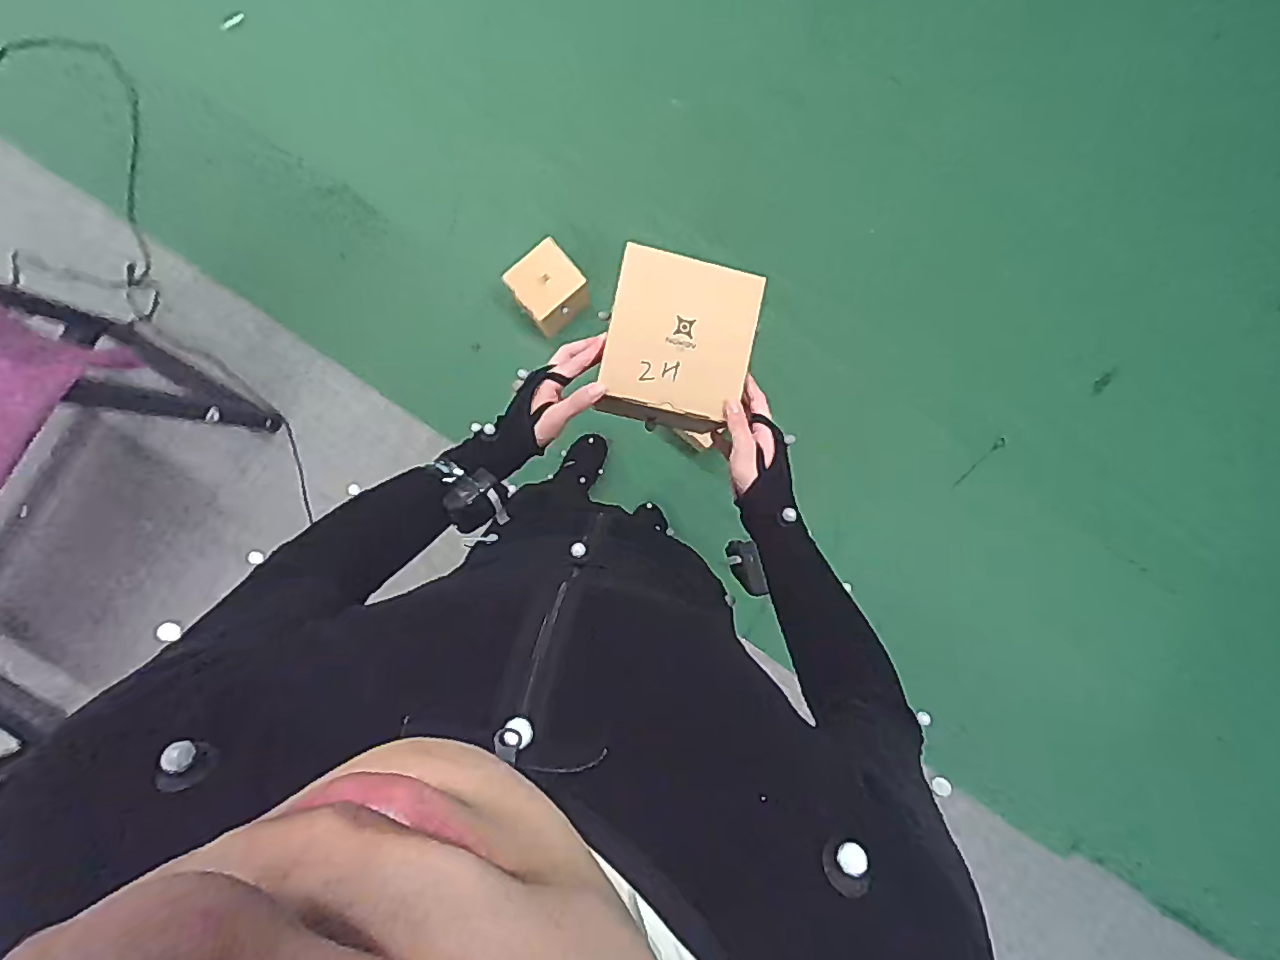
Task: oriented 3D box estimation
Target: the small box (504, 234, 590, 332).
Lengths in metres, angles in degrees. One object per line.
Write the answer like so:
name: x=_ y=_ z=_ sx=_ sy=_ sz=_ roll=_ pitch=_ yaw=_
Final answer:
small box: x=-0.258 y=-0.559 z=1.559 sx=0.179 sy=0.176 sz=0.168 roll=-41 pitch=90 yaw=1
